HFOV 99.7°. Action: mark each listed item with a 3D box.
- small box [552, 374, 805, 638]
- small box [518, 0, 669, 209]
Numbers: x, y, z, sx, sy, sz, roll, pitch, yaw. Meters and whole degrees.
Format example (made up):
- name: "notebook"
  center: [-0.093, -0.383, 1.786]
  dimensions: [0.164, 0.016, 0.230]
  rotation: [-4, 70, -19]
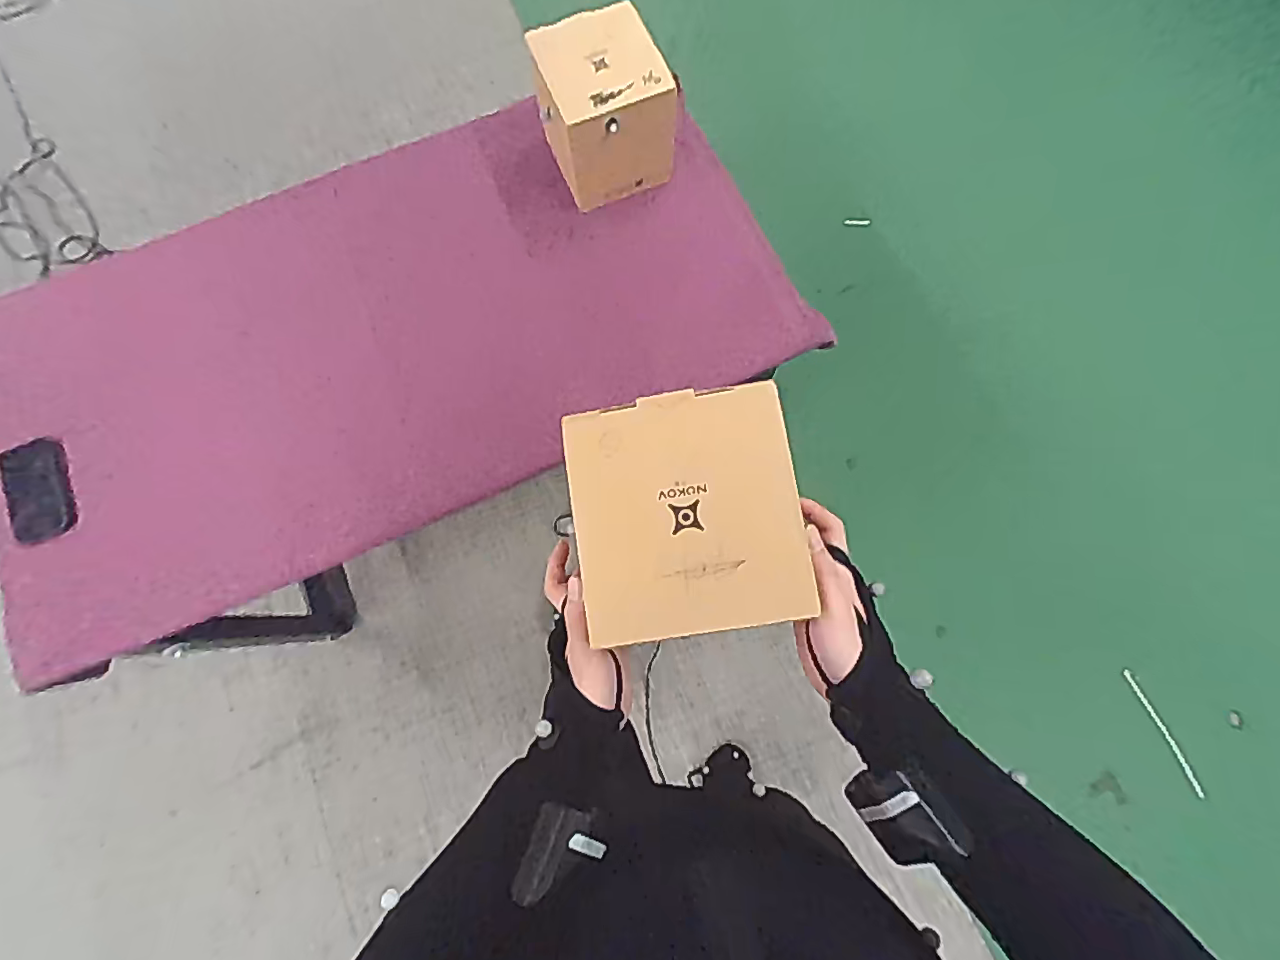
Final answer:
- name: "small box"
  center: [0.031, 0.029, 0.472]
  dimensions: [0.168, 0.176, 0.179]
  rotation: [-10, 81, 5]
- name: "small box"
  center: [-0.066, -0.563, 0.828]
  dimensions: [0.168, 0.176, 0.179]
  rotation: [-23, 77, -3]
